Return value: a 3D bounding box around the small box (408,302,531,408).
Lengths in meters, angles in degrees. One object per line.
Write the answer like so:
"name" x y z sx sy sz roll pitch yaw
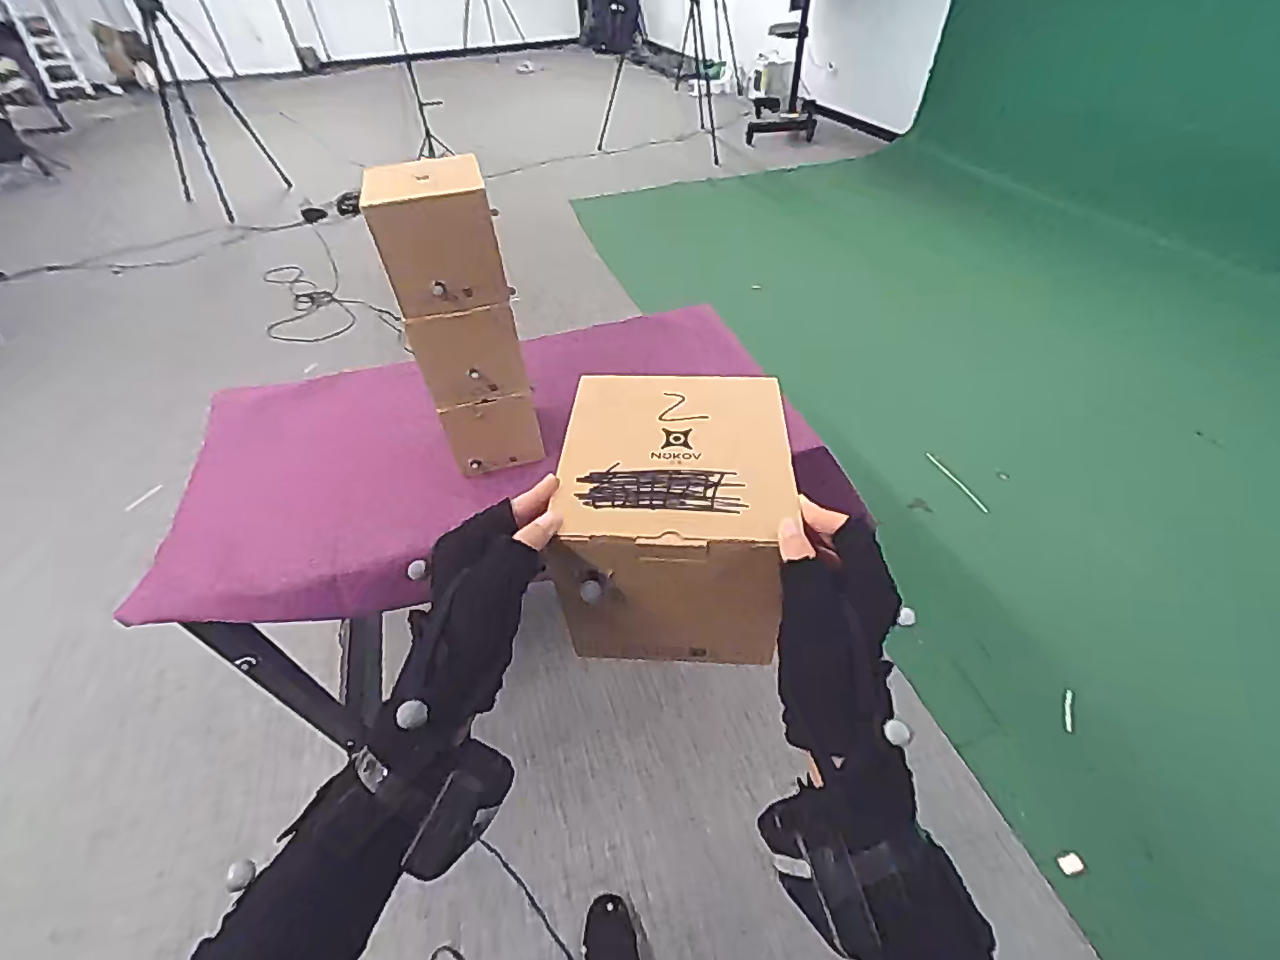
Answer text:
"small box" -0.297 -0.252 0.955 0.168 0.176 0.179 -13 47 -10

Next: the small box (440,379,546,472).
"small box" -0.288 -0.132 1.067 0.168 0.176 0.179 -13 46 -10

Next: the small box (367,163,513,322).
"small box" -0.303 -0.370 0.841 0.168 0.176 0.179 -14 47 -10
